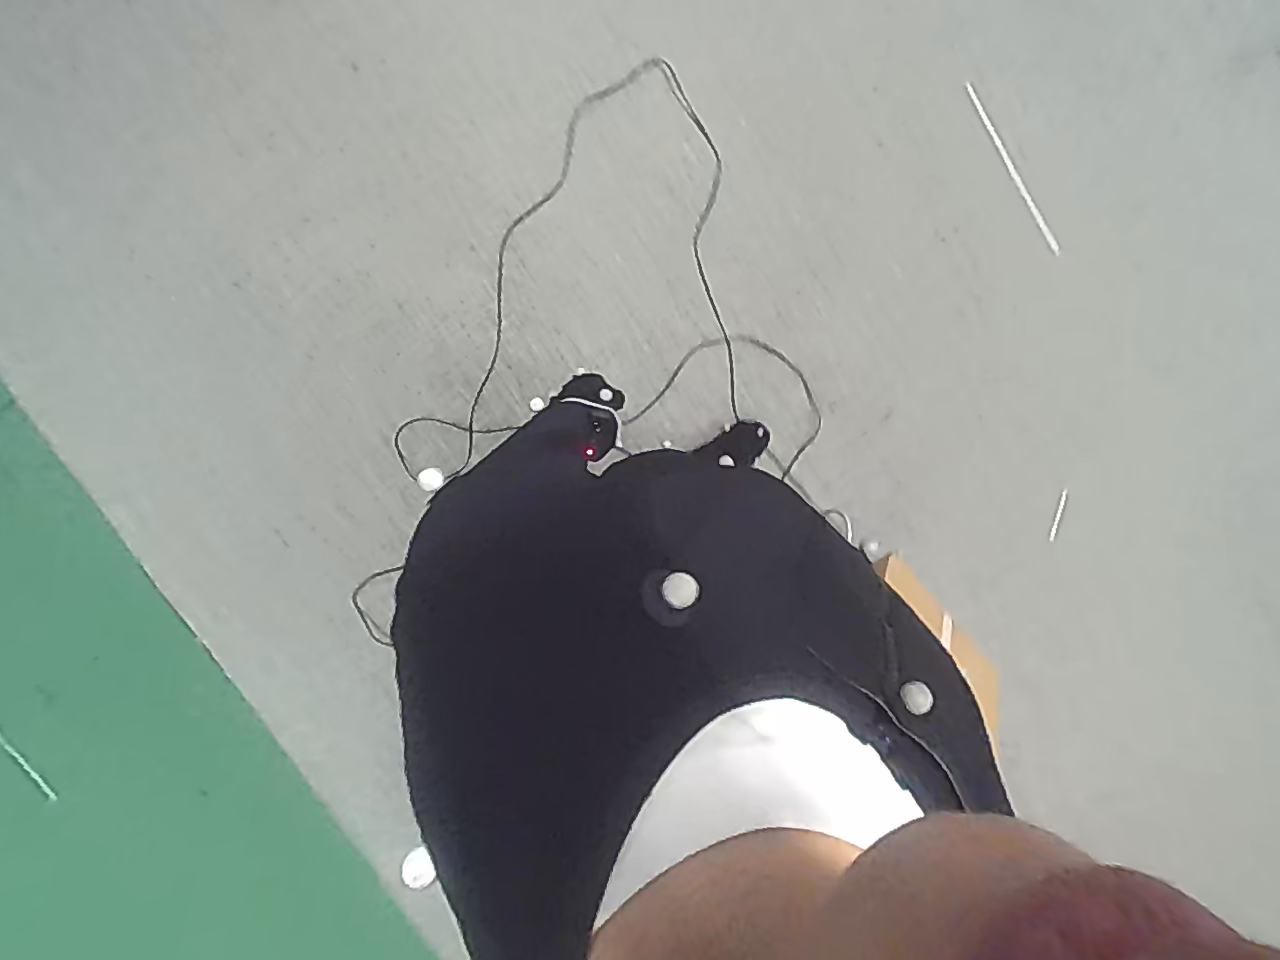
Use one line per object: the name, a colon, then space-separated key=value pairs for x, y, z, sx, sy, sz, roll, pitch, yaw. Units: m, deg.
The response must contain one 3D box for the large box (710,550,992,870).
large box: x=0.391 y=0.406 z=0.989 sx=0.320 sy=0.408 sz=0.320 roll=50 pitch=129 yaw=0
